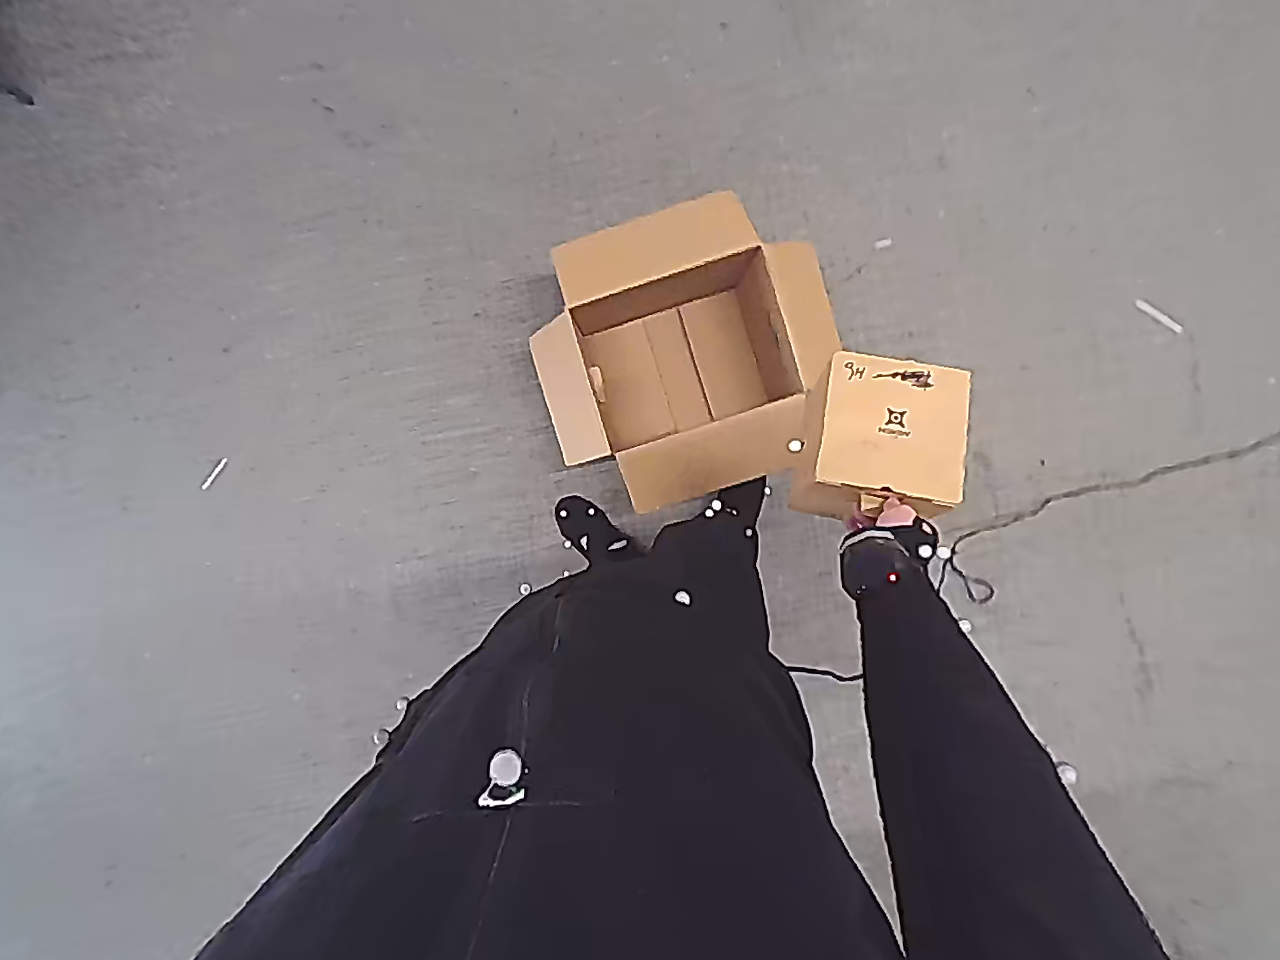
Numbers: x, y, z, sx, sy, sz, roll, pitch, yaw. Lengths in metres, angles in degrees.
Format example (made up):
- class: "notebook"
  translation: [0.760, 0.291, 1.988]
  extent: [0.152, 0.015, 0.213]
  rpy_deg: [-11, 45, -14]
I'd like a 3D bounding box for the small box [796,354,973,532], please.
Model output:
- class: "small box"
  translation: [0.314, -0.040, 0.726]
  extent: [0.168, 0.176, 0.179]
  rpy_deg: [12, 75, 10]
